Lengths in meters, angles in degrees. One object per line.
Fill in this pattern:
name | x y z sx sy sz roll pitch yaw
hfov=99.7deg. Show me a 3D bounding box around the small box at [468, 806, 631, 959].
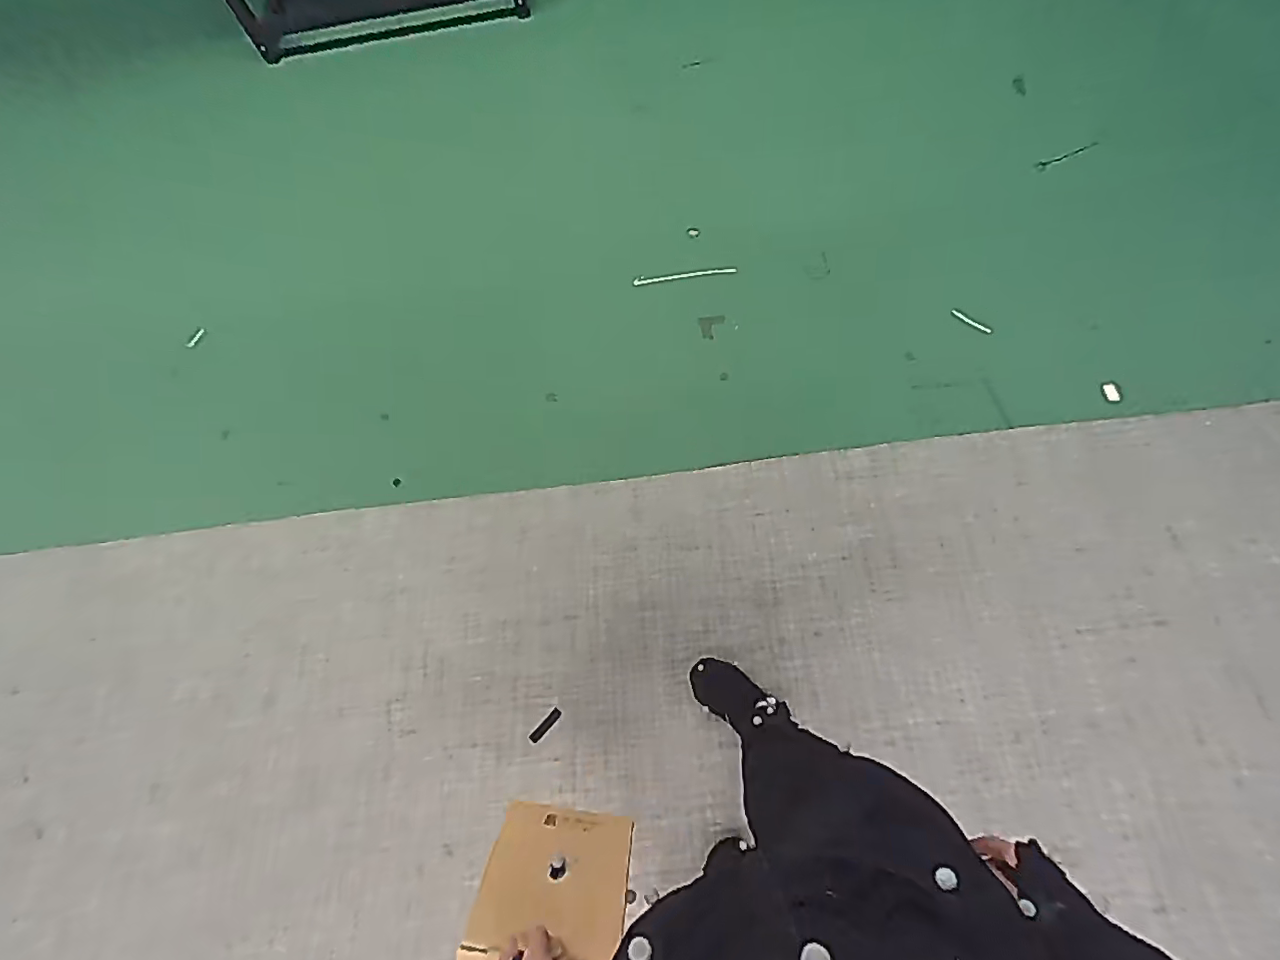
small box | -0.101 0.528 0.648 0.168 0.176 0.179 7 109 0
